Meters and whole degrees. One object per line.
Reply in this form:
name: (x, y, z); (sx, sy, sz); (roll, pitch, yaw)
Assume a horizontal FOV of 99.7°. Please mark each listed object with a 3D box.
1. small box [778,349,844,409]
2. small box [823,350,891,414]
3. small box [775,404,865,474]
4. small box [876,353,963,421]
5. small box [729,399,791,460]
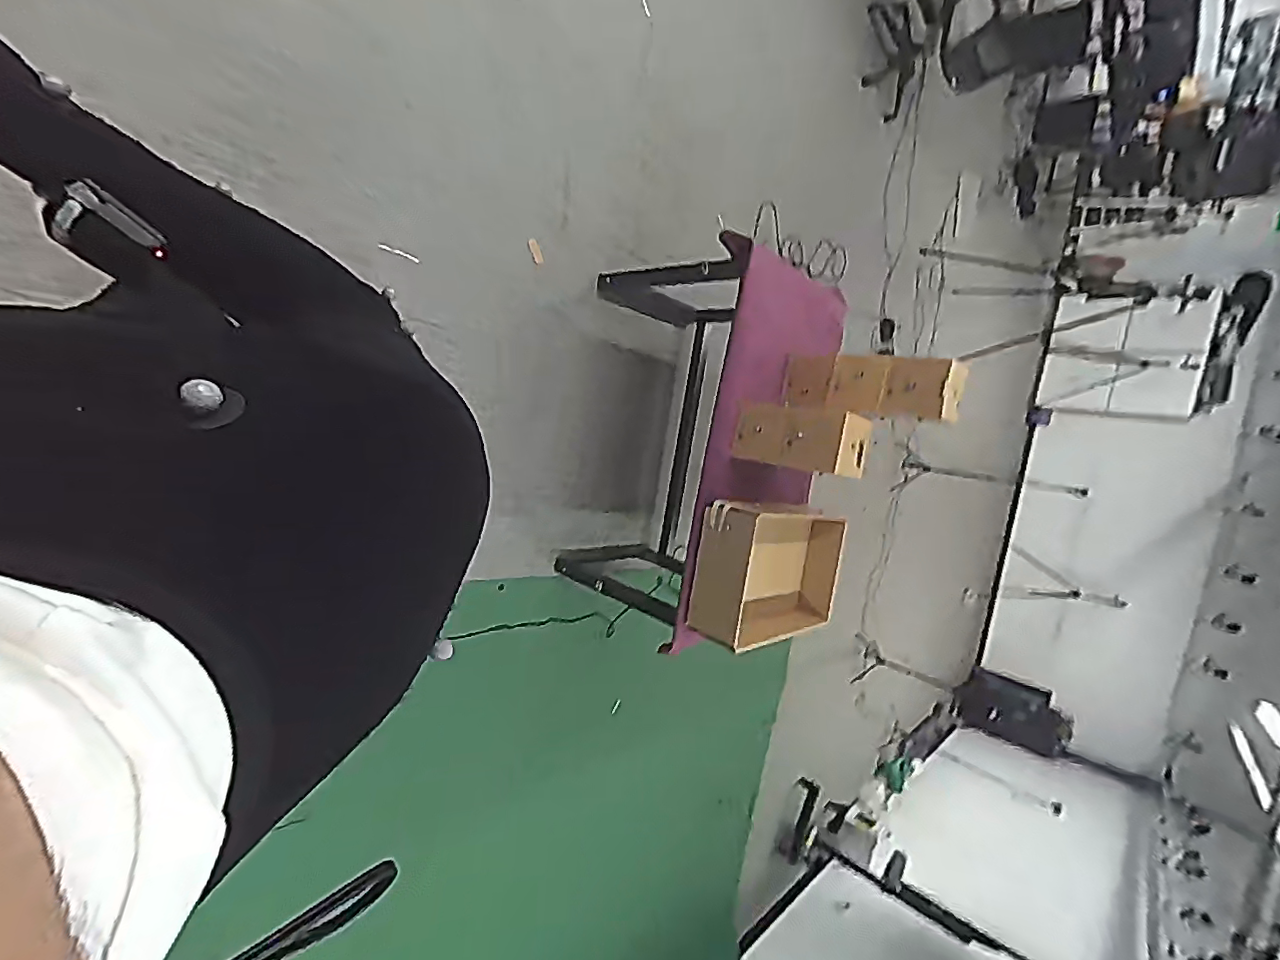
small box: (0.580, -0.335, 1.798); (0.179, 0.176, 0.168); (5, 98, -47)
small box: (0.693, -0.306, 1.685); (0.179, 0.176, 0.168); (4, 98, -48)
small box: (0.512, -0.117, 1.538); (0.179, 0.176, 0.168); (6, 96, -48)
small box: (0.813, -0.273, 1.578); (0.179, 0.176, 0.168); (4, 99, -47)
small box: (0.395, -0.150, 1.648); (0.179, 0.176, 0.168); (6, 97, -48)
